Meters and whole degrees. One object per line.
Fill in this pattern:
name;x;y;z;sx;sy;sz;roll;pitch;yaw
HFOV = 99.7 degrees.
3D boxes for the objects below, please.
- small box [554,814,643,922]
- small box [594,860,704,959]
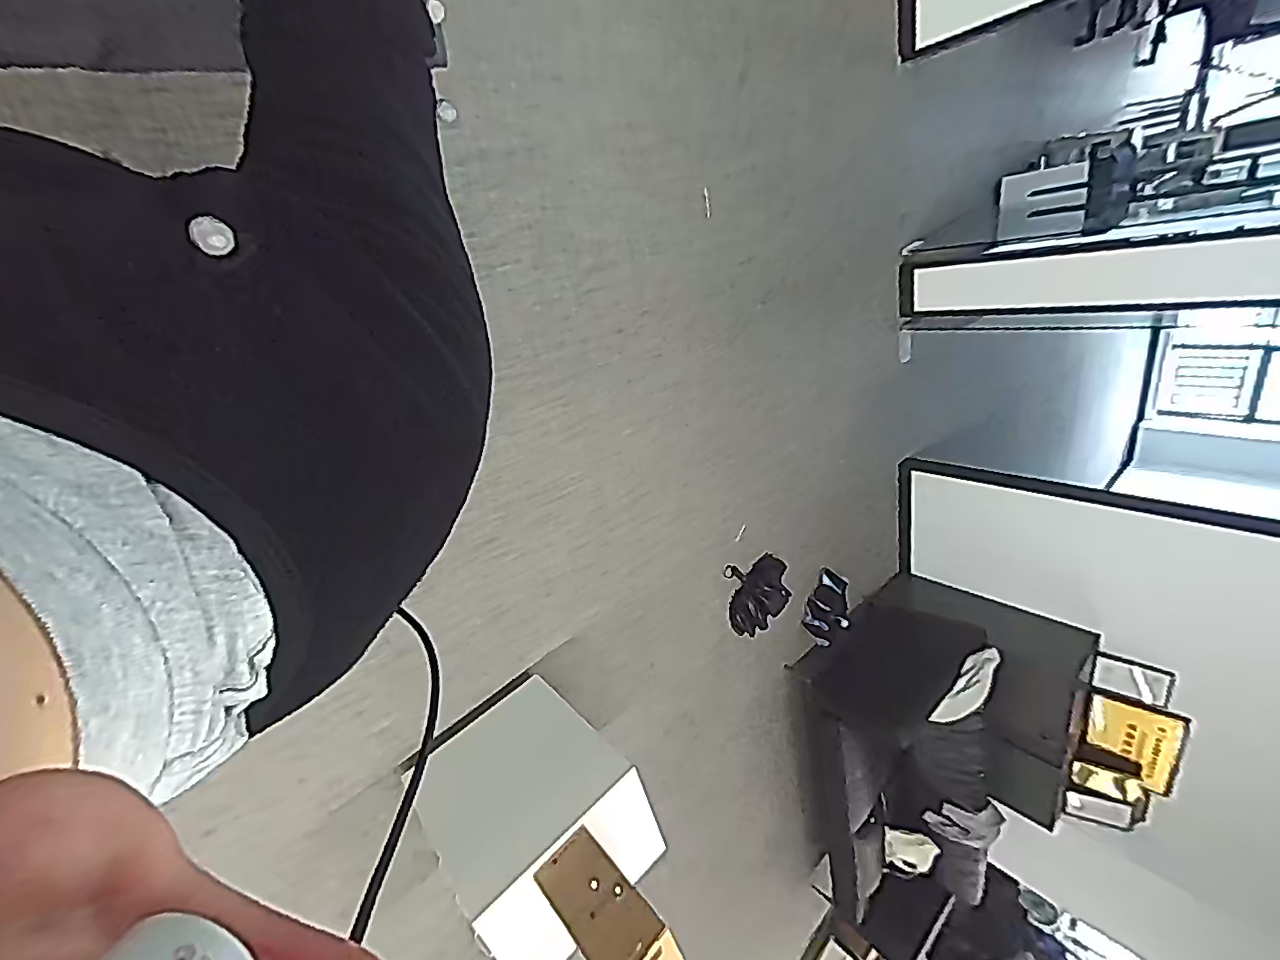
small box;-0.087;0.994;1.365;0.168;0.176;0.179;-37;124;-28
small box;0.018;1.029;1.244;0.168;0.176;0.179;-36;124;-28
